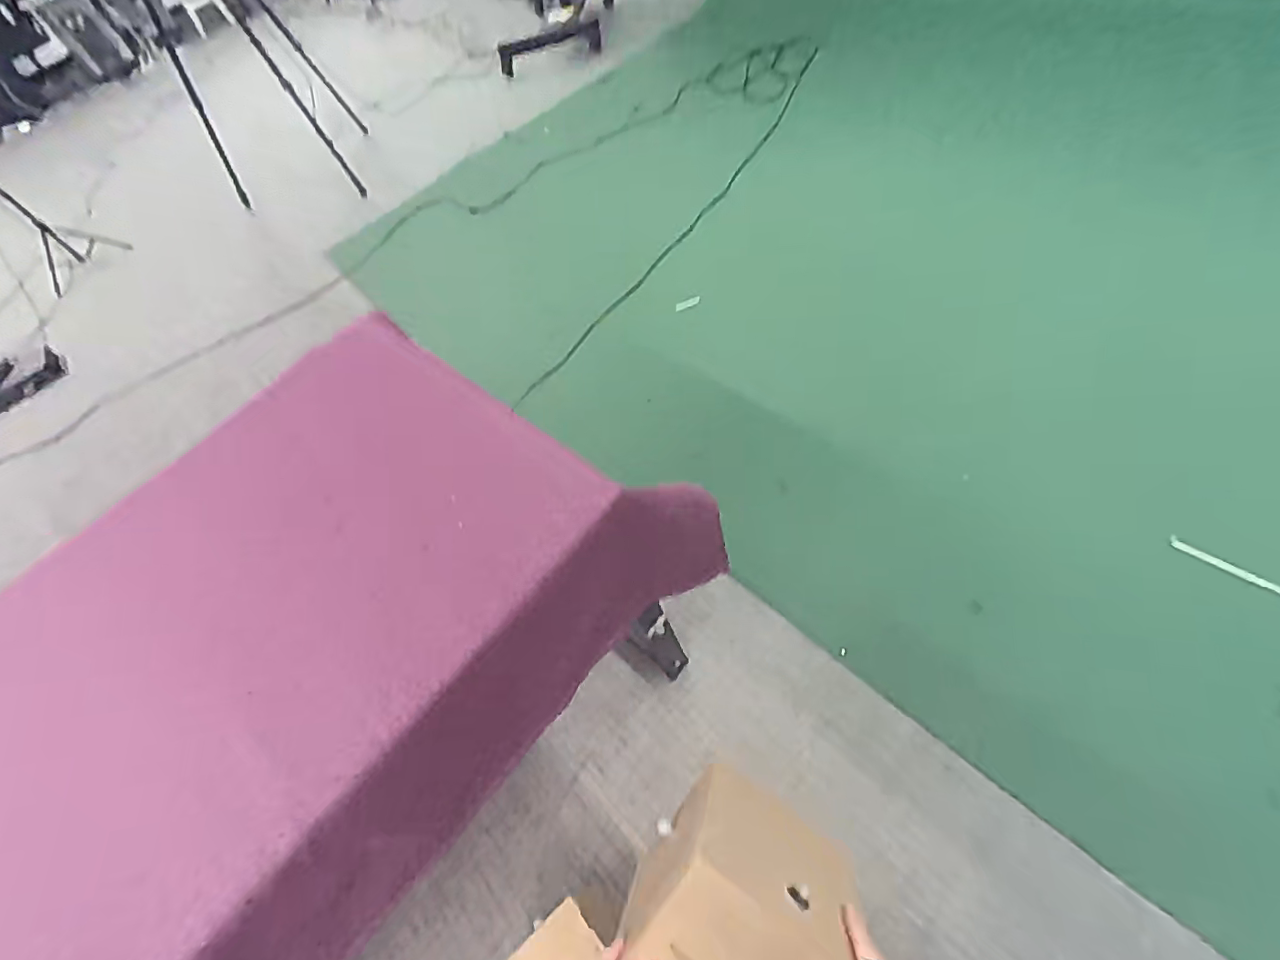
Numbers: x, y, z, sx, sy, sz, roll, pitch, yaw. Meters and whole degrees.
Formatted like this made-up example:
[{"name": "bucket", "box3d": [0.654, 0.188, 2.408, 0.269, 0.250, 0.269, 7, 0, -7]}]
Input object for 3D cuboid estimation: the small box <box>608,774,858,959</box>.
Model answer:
[{"name": "small box", "box3d": [0.090, 0.429, 0.517, 0.179, 0.176, 0.168, 33, 97, 10]}]
